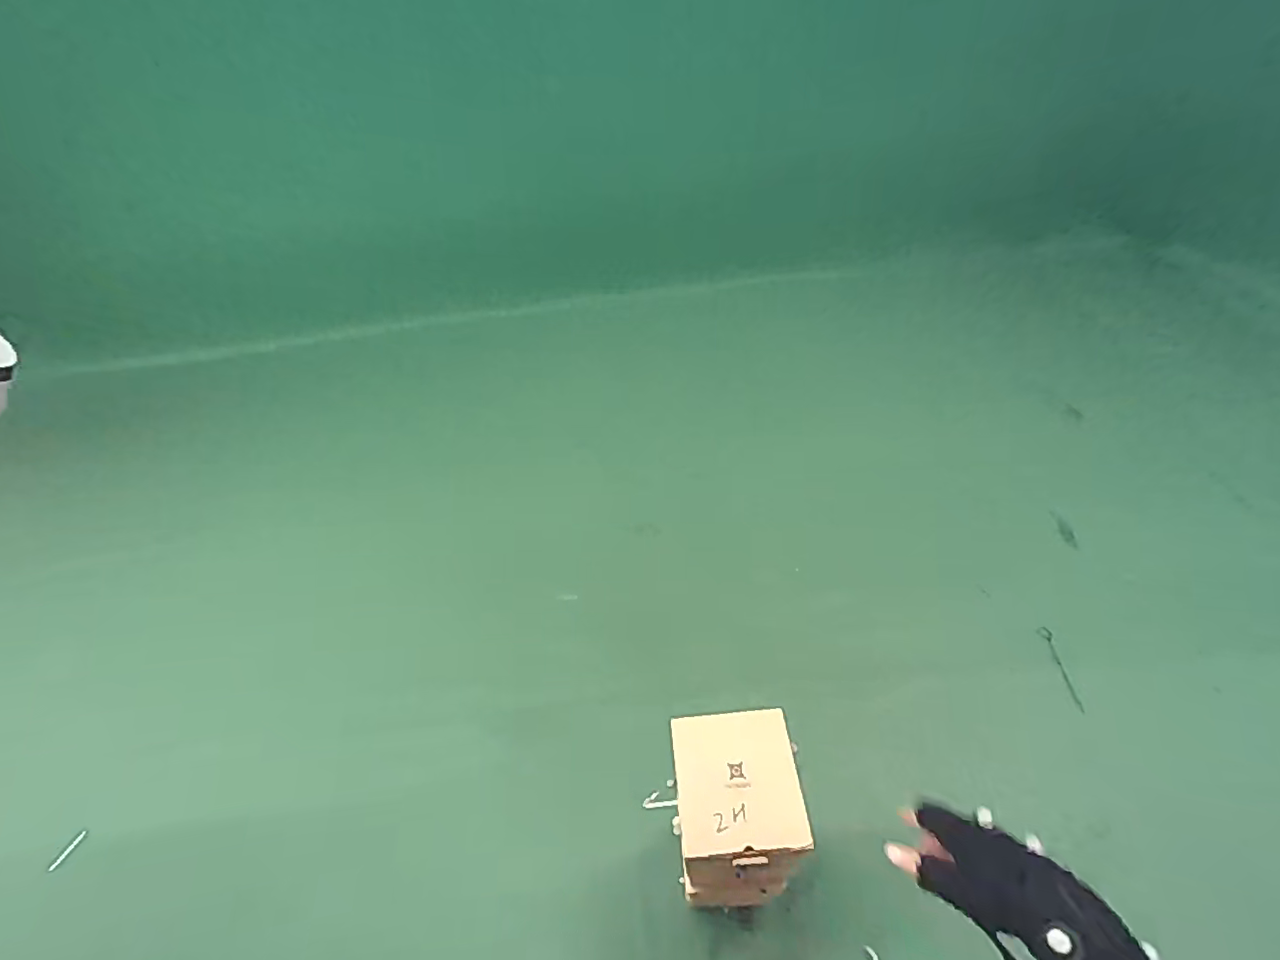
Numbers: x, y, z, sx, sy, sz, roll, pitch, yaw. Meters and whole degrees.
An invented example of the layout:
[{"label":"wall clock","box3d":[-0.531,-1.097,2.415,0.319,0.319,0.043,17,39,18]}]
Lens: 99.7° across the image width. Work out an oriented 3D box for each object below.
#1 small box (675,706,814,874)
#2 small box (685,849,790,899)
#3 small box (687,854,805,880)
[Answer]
[{"label":"small box","box3d":[0.142,0.456,0.795,0.168,0.176,0.179,-6,47,2]},{"label":"small box","box3d":[0.175,0.684,1.030,0.179,0.176,0.168,-6,47,2]},{"label":"small box","box3d":[0.164,0.563,0.915,0.179,0.176,0.168,-4,46,3]}]
